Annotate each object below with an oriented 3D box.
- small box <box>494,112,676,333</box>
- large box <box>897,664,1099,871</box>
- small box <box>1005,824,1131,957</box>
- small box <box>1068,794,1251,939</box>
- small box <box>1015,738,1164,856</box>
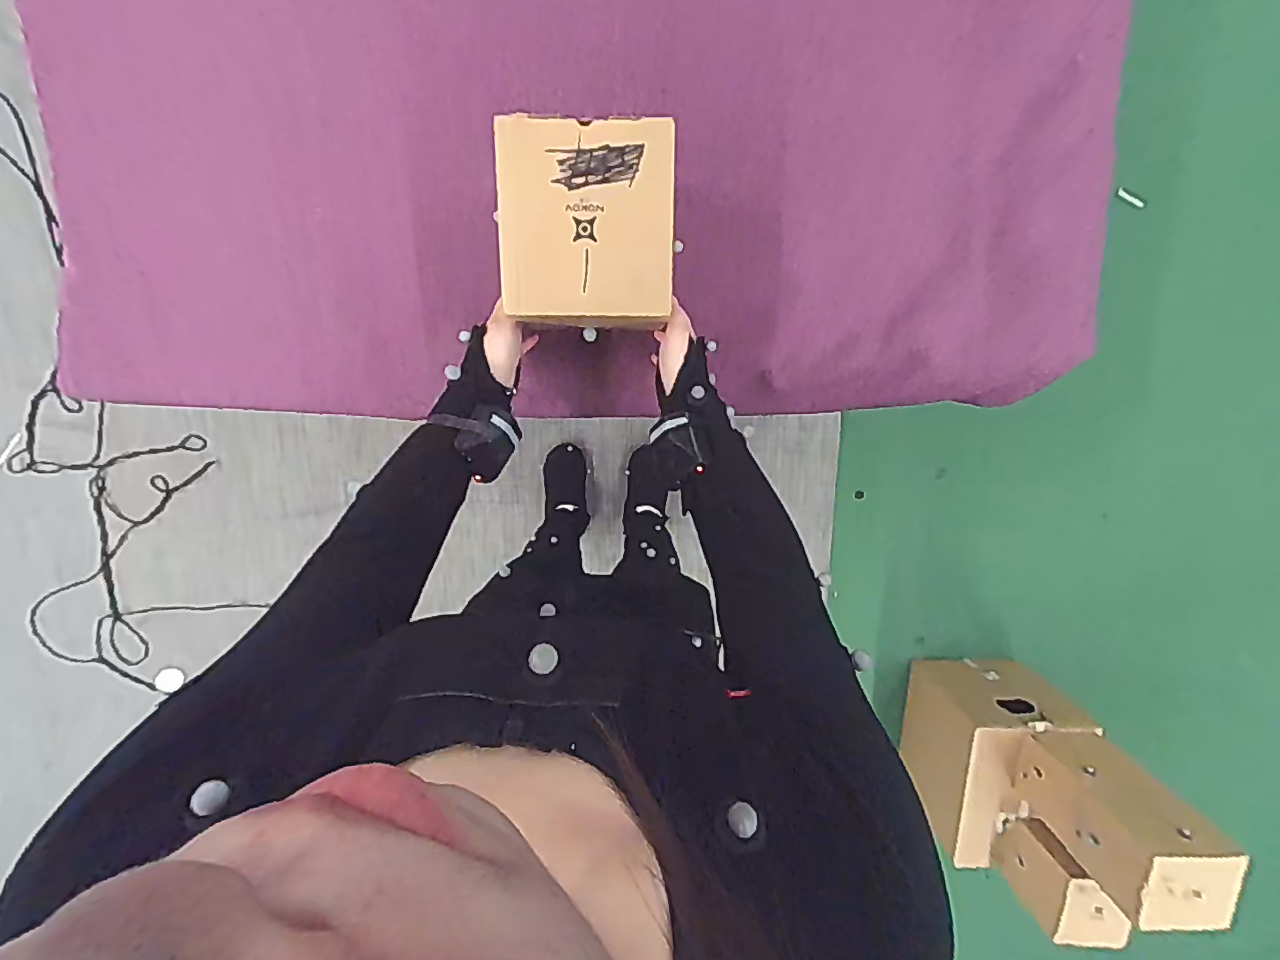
[{"bbox_3d":[-0.053,-0.255,0.574,0.168,0.176,0.179,0,102,-1],"label":"small box"},{"bbox_3d":[0.937,0.757,1.467,0.320,0.320,0.408,1,102,0],"label":"large box"},{"bbox_3d":[0.993,0.948,1.256,0.168,0.176,0.179,6,101,-3],"label":"small box"},{"bbox_3d":[0.992,0.740,1.048,0.179,0.176,0.168,0,102,0],"label":"small box"},{"bbox_3d":[0.992,0.703,1.209,0.179,0.176,0.168,1,102,-1],"label":"small box"}]
